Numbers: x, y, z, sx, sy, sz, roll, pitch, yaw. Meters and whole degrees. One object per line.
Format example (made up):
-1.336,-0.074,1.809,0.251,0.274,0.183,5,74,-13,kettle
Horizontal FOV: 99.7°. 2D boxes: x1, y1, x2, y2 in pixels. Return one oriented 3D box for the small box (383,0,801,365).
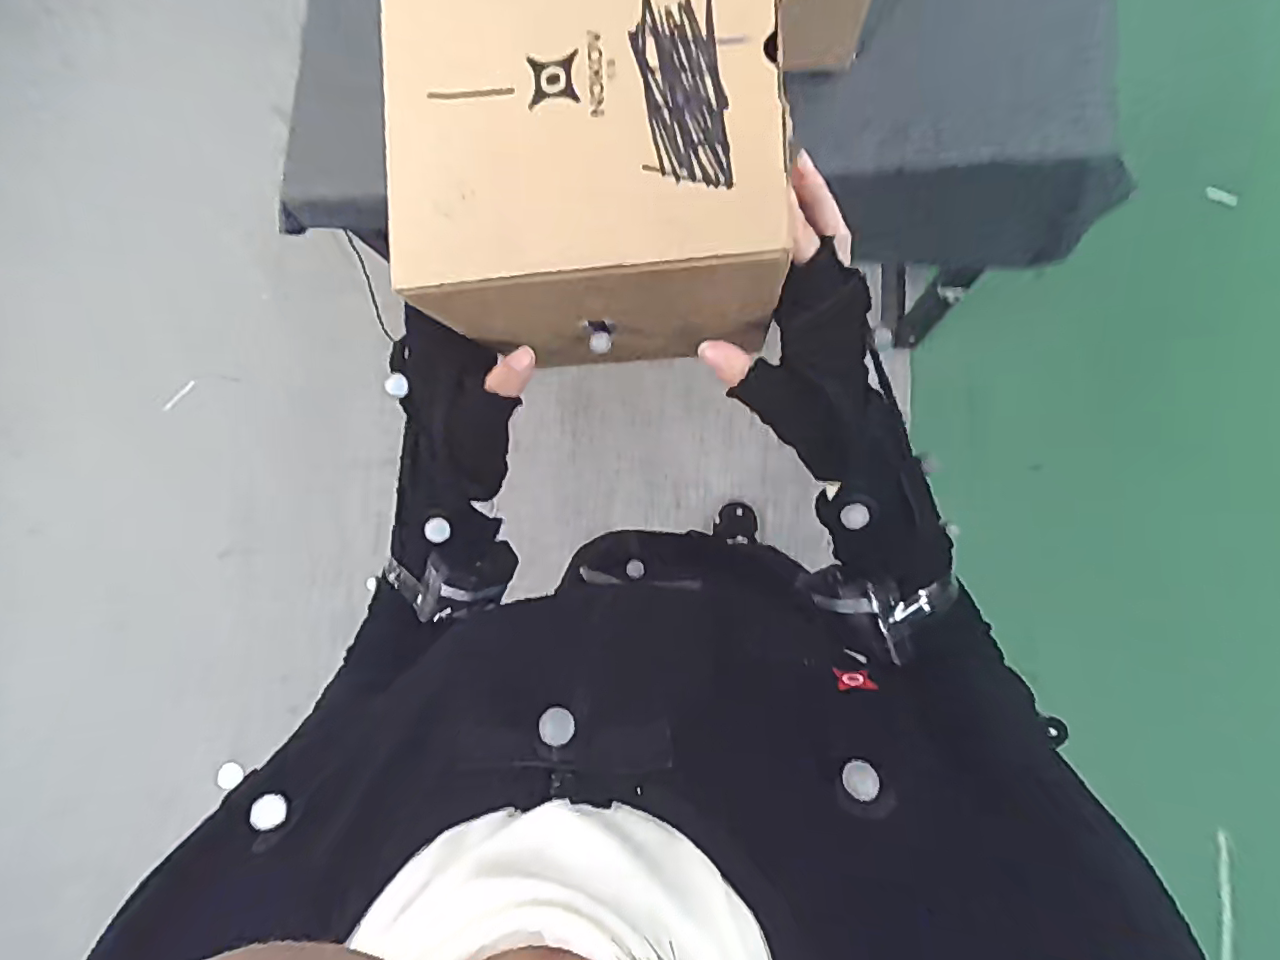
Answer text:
-0.017,-0.171,0.313,0.179,0.176,0.168,-5,89,7,small box
